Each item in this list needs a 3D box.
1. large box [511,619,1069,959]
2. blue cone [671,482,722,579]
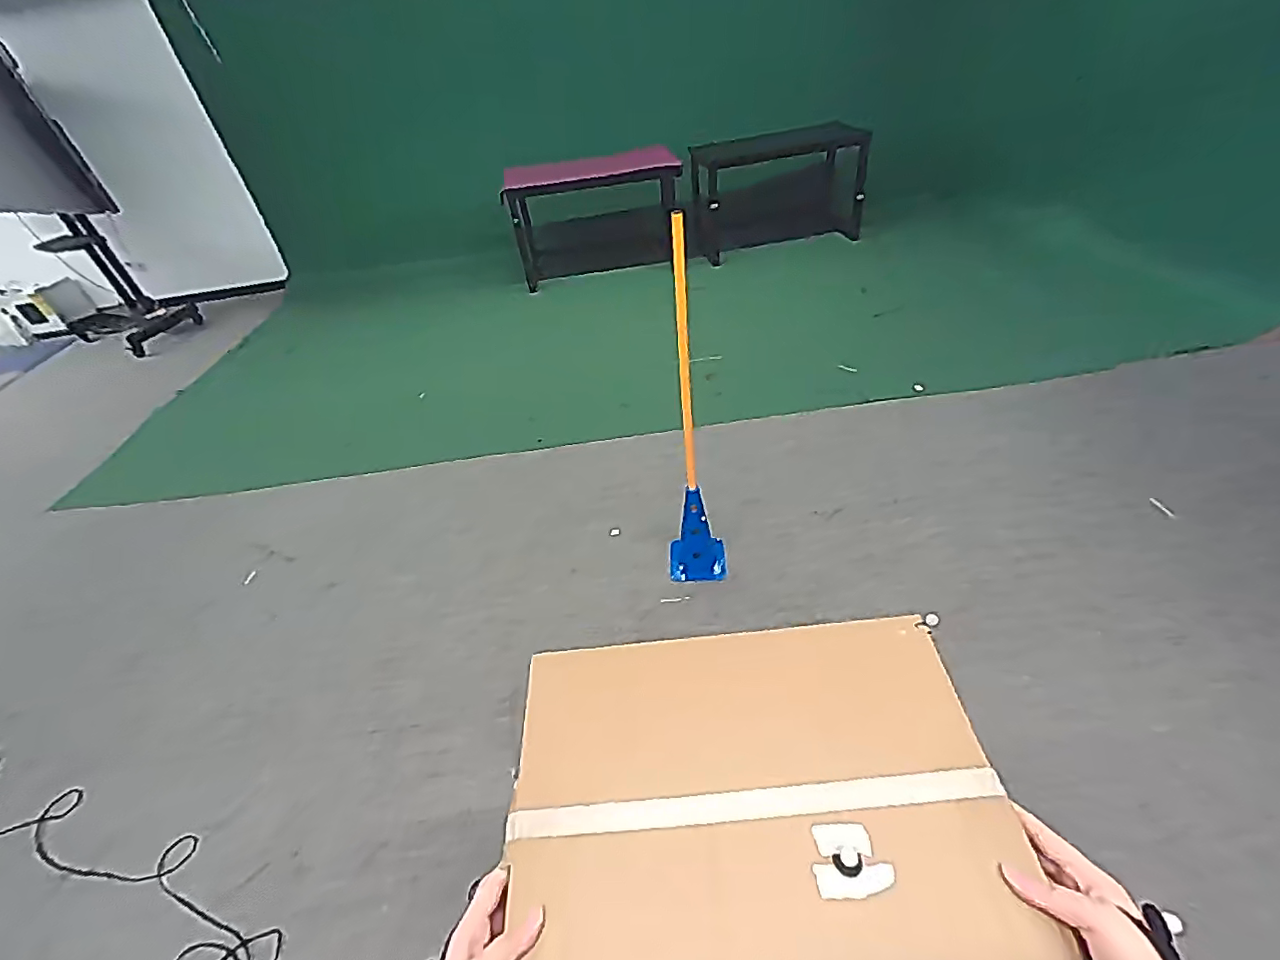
[{"bbox_3d":[0.107,0.380,0.566,0.408,0.320,0.320,-6,45,2],"label":"large box"},{"bbox_3d":[0.190,0.169,1.898,0.193,0.380,0.192,-2,39,7],"label":"blue cone"}]
